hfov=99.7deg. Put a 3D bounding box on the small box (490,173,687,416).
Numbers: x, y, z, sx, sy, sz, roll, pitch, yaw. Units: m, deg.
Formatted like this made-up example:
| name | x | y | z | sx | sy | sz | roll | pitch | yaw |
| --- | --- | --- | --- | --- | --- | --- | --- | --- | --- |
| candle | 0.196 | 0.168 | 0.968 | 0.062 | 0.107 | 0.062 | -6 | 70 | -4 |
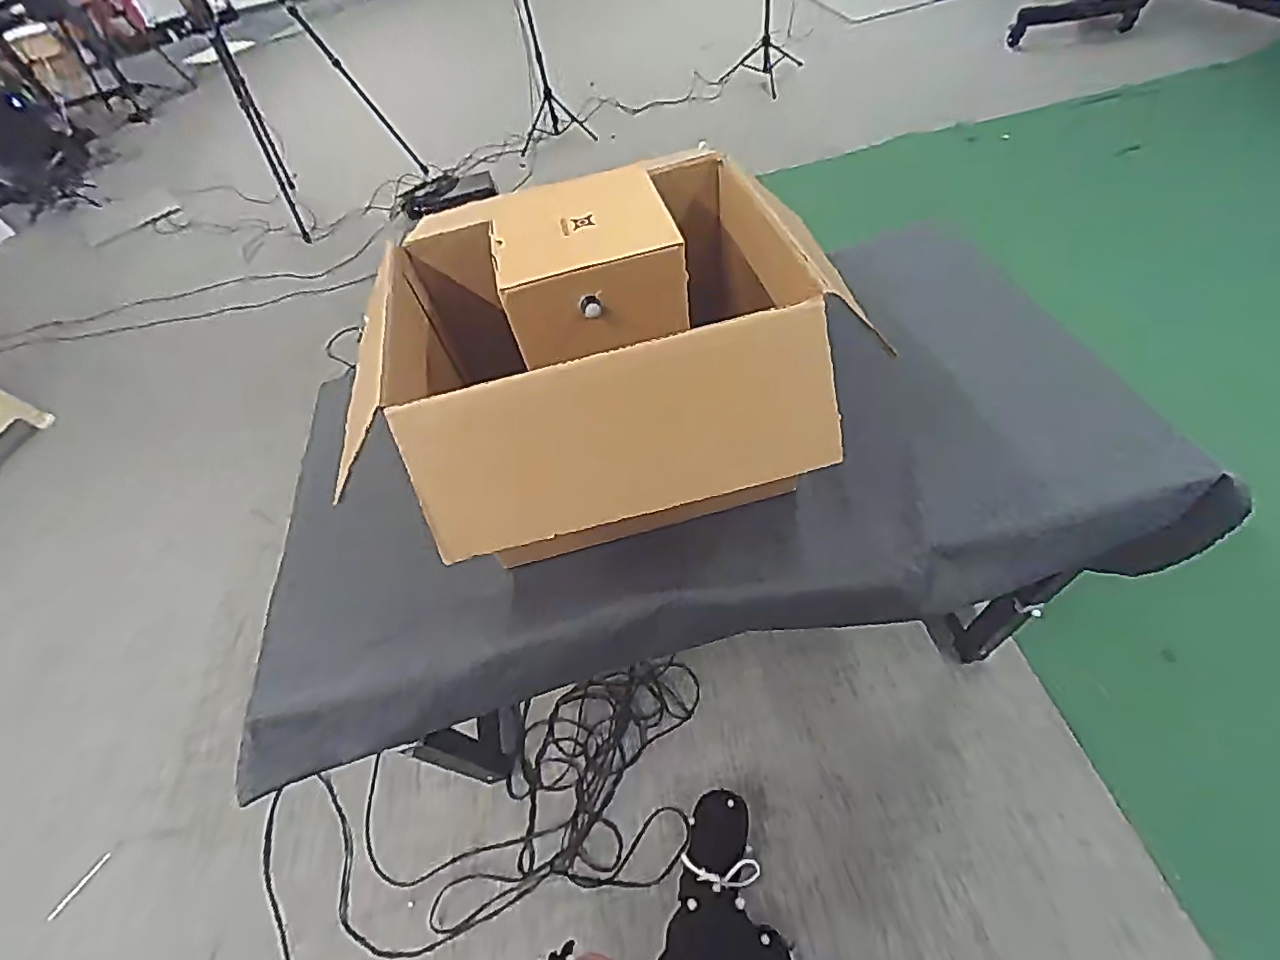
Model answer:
| name | x | y | z | sx | sy | sz | roll | pitch | yaw |
| --- | --- | --- | --- | --- | --- | --- | --- | --- | --- |
| small box | -0.050 | -0.198 | 0.594 | 0.179 | 0.176 | 0.168 | -15 | 53 | -1 |
